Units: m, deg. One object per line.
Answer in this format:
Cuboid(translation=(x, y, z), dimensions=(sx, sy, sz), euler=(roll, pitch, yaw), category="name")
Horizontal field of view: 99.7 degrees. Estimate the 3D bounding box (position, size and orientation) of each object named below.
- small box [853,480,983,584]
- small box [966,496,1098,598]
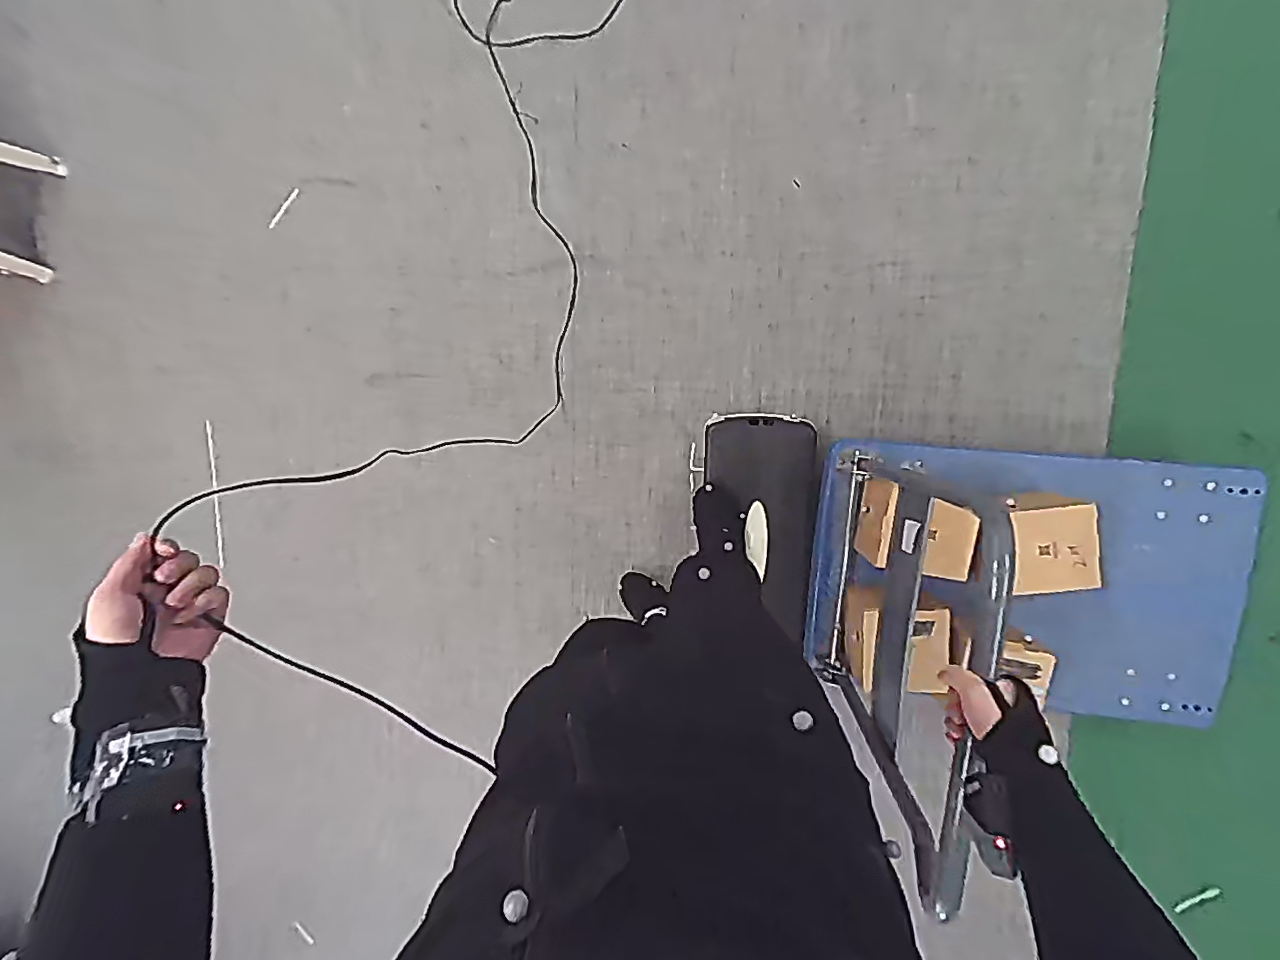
Cuboid(translation=(0.565, 0.099, 1.123), dimensions=(0.179, 0.176, 0.168), euler=(9, 98, 7), category="small box")
Cuboid(translation=(0.776, 0.130, 1.098), dimensions=(0.179, 0.176, 0.168), euler=(-6, 97, 8), category="small box")
